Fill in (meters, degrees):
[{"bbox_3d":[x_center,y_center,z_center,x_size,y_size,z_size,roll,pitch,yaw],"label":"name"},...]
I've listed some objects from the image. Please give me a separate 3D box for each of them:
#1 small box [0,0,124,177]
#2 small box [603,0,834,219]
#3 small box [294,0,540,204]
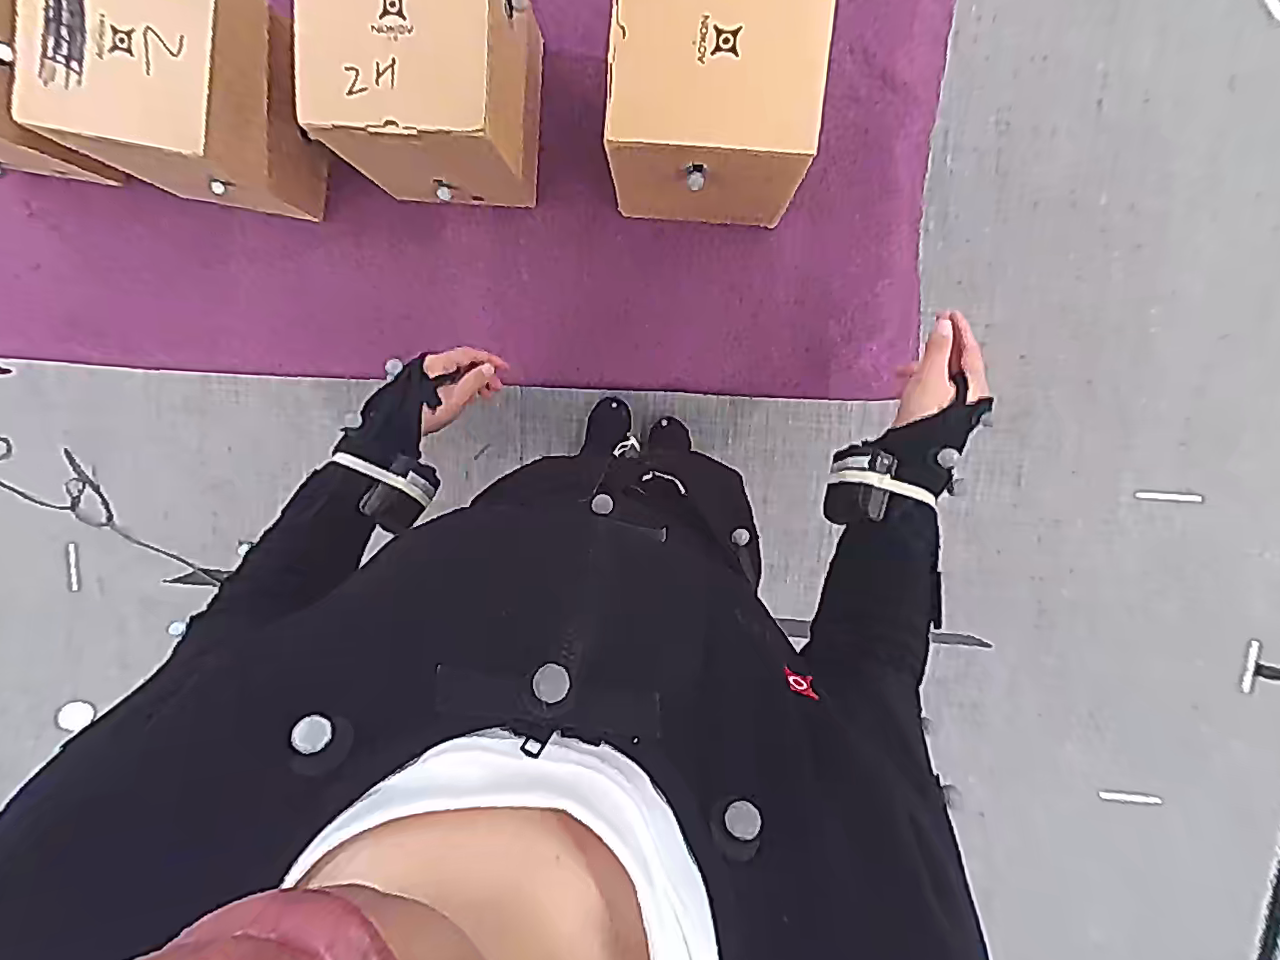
[{"bbox_3d":[-0.674,-0.434,0.542,0.168,0.176,0.179,9,98,1],"label":"small box"},{"bbox_3d":[0.068,-0.363,0.511,0.179,0.176,0.168,6,97,4],"label":"small box"},{"bbox_3d":[-0.198,-0.394,0.522,0.168,0.176,0.179,5,98,3],"label":"small box"}]
